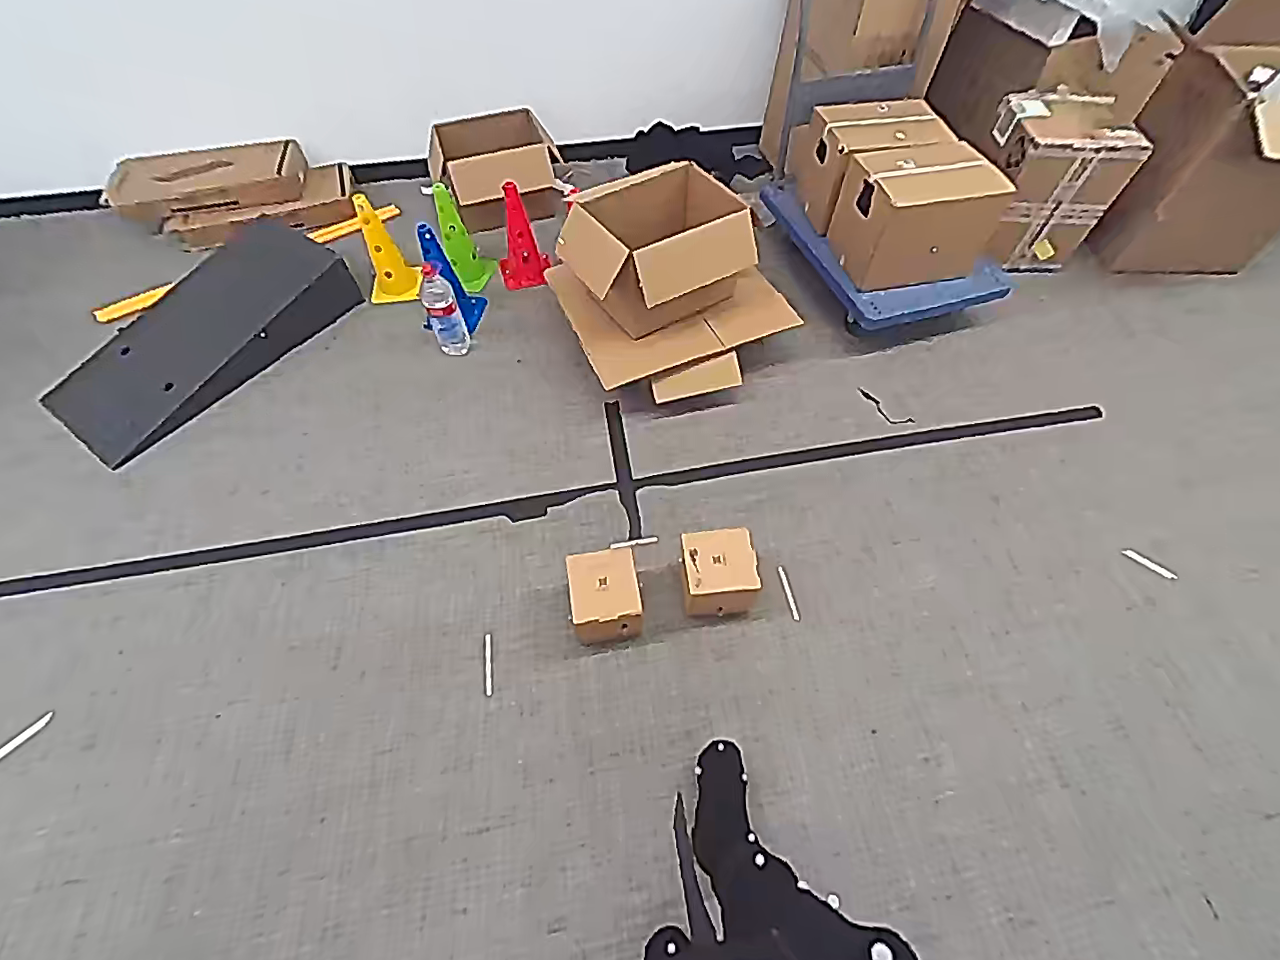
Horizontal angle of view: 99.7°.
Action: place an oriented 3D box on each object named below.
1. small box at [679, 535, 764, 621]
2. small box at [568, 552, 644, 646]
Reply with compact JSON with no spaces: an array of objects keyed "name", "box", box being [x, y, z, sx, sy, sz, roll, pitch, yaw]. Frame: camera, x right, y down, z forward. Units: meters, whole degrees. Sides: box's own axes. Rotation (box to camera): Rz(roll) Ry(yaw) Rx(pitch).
[{"name":"small box","box":[0.202,0.254,1.390,0.179,0.176,0.168,-4,57,-4]},{"name":"small box","box":[-0.084,0.306,1.356,0.168,0.176,0.179,-8,56,-7]}]
